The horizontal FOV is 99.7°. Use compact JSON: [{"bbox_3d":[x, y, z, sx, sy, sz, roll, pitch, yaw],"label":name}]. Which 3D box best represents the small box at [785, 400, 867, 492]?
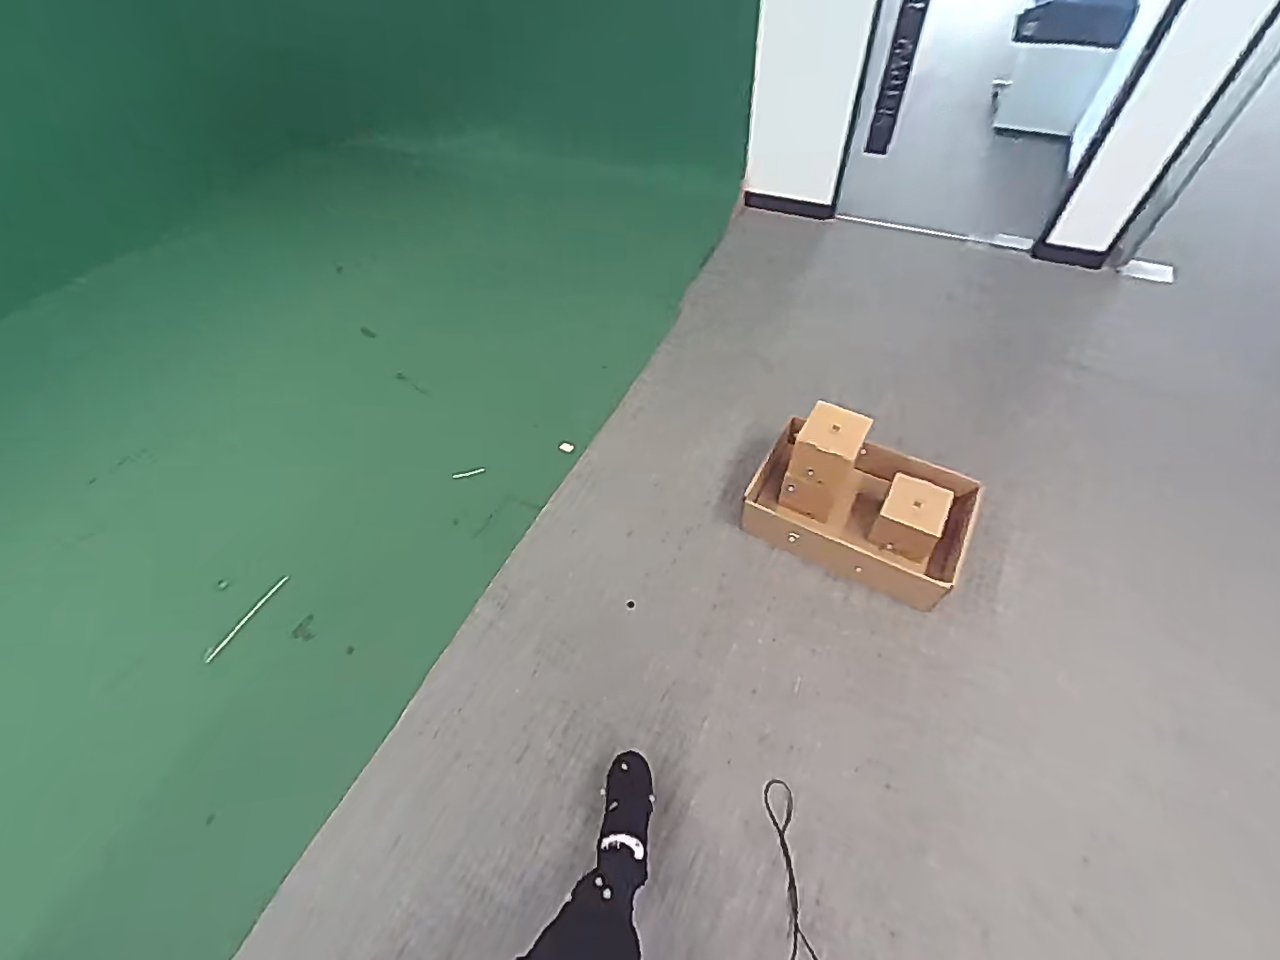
[{"bbox_3d":[0.543,-0.099,1.598,0.168,0.176,0.179,25,59,19],"label":"small box"}]

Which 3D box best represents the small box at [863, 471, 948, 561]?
[{"bbox_3d":[0.795,0.109,1.631,0.168,0.176,0.179,23,60,21],"label":"small box"}]
